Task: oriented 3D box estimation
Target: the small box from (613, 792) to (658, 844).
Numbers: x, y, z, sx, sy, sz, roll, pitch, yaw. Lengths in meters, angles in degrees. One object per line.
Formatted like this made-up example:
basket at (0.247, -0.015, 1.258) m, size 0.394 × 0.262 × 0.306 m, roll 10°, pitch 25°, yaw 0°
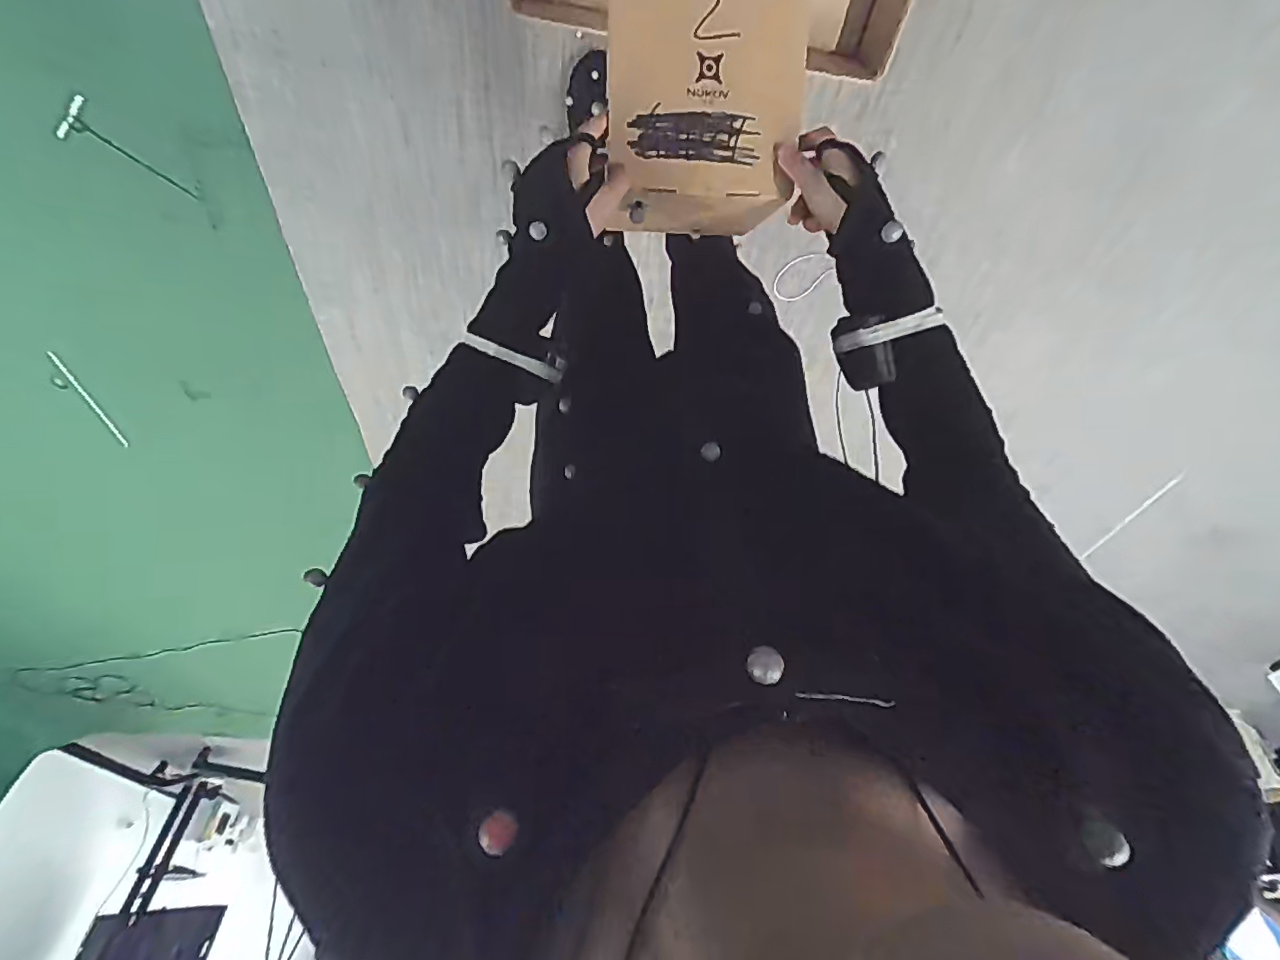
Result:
small box at (-0.012, 1.379, 2.189) m, size 0.168 × 0.176 × 0.179 m, roll -4°, pitch 138°, yaw 5°

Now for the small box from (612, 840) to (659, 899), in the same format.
small box at (-0.017, 1.488, 2.064) m, size 0.179 × 0.176 × 0.168 m, roll 0°, pitch 137°, yaw 1°
